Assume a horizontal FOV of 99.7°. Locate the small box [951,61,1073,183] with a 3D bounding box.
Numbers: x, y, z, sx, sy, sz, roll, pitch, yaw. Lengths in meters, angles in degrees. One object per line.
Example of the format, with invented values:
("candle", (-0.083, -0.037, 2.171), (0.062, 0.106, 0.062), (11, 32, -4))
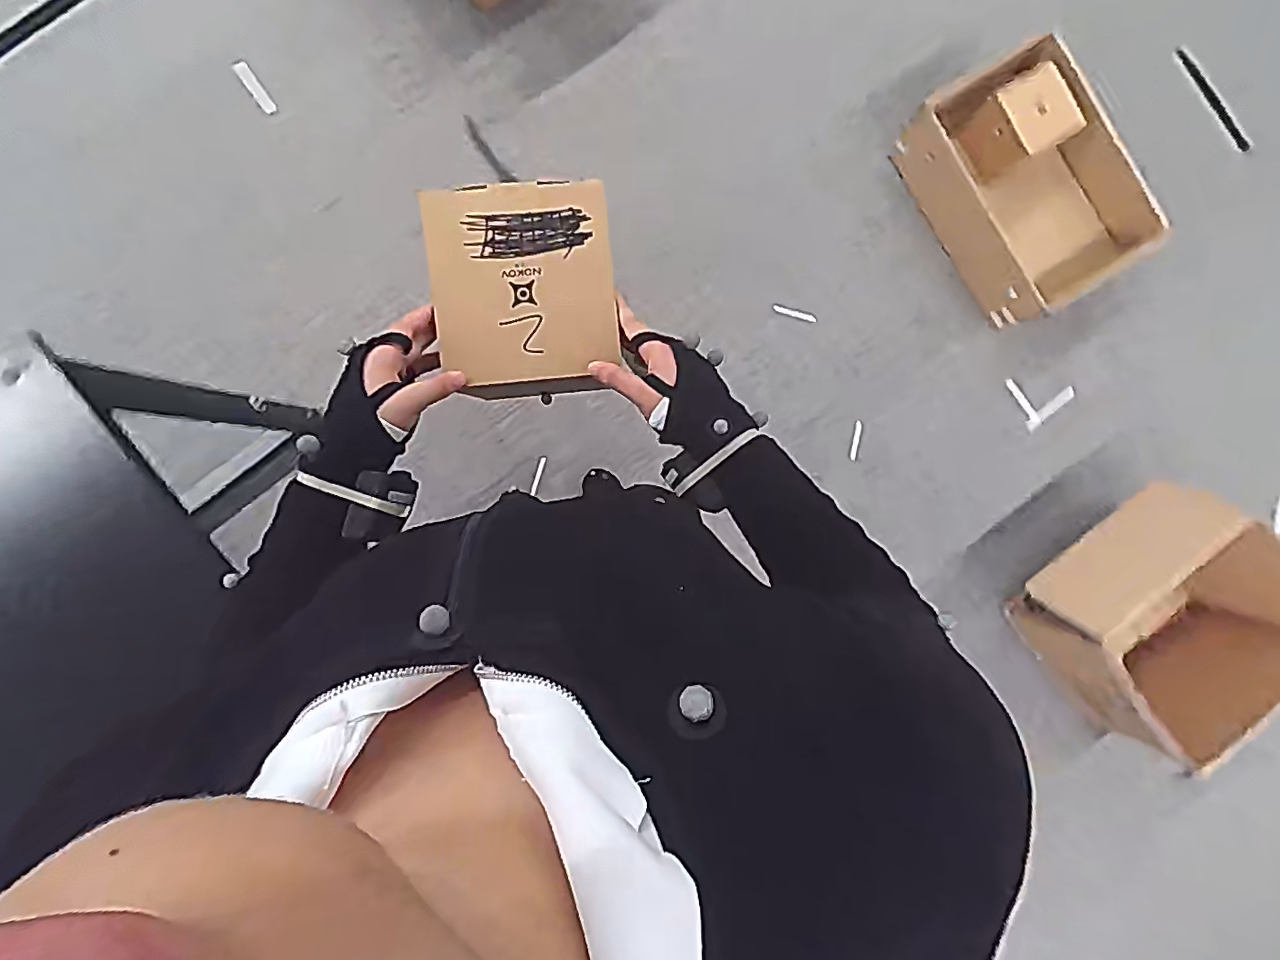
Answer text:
("small box", (0.971, -0.937, 1.431), (0.168, 0.176, 0.179), (-33, 94, 0))
